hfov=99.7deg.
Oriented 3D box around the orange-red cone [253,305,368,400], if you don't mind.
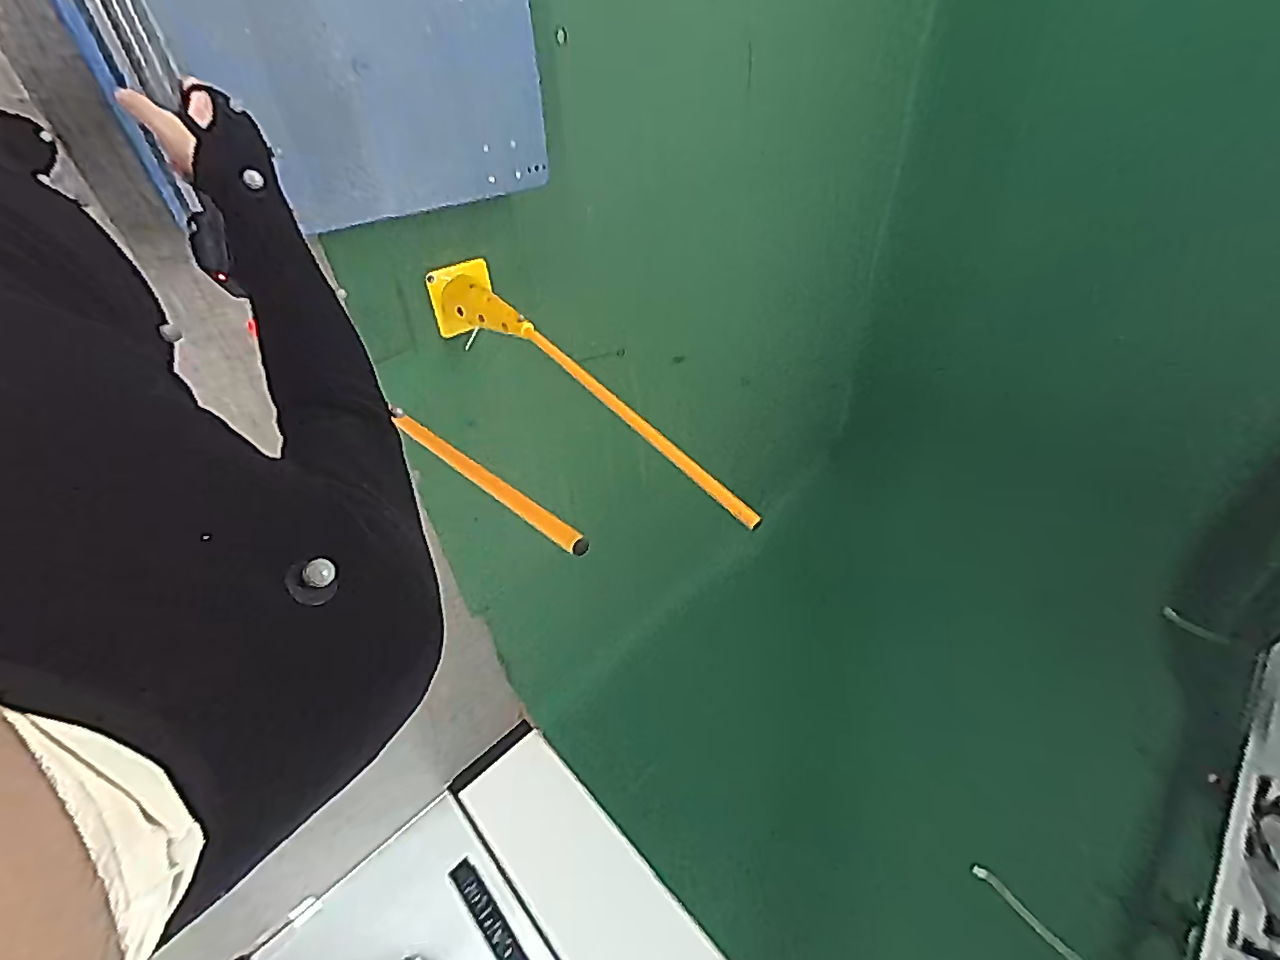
[{"bbox_3d":[-0.745,-0.270,1.308,0.199,0.360,0.198,-34,138,-31],"label":"orange-red cone"}]
